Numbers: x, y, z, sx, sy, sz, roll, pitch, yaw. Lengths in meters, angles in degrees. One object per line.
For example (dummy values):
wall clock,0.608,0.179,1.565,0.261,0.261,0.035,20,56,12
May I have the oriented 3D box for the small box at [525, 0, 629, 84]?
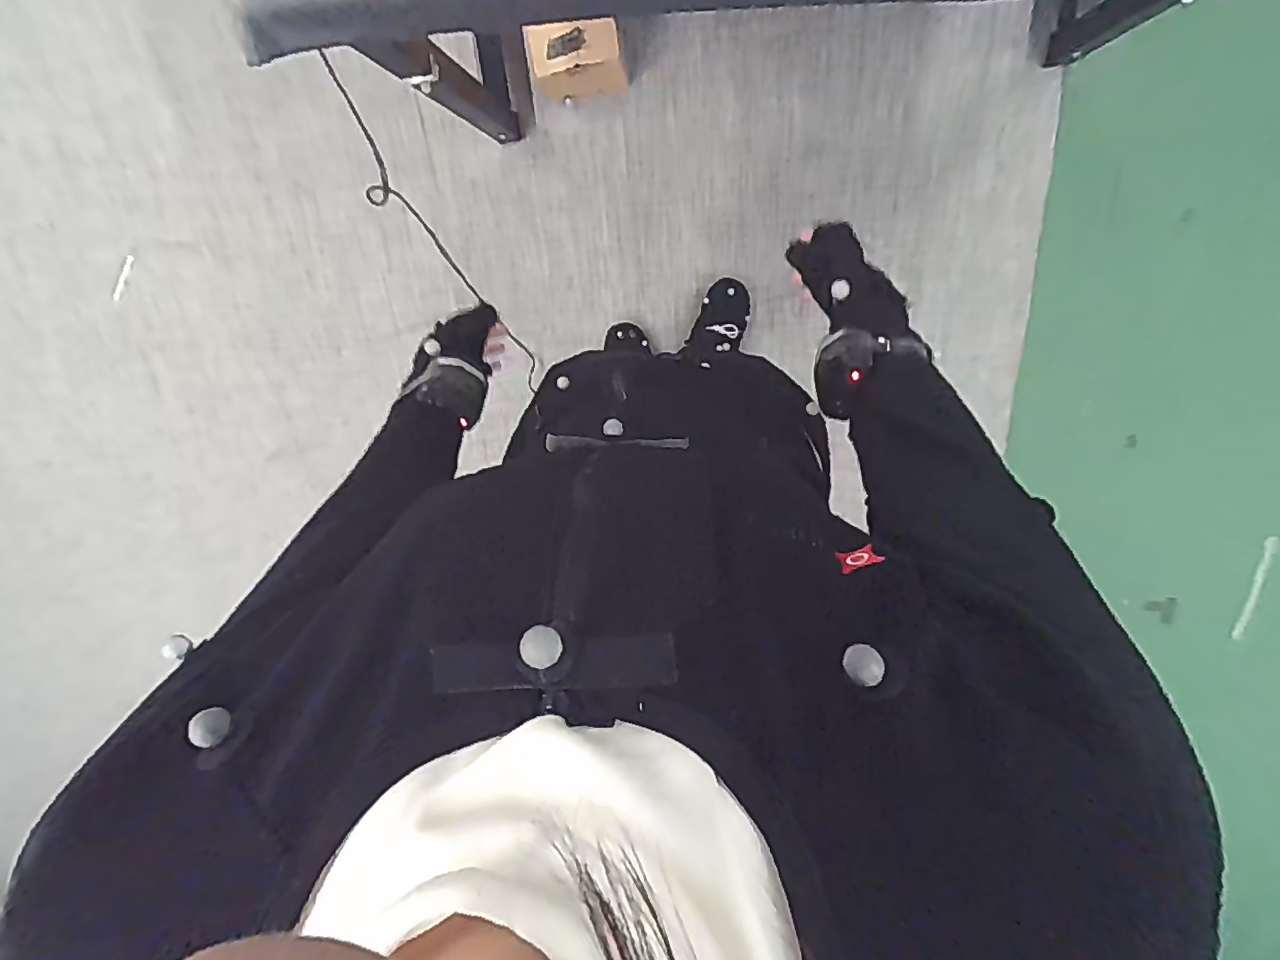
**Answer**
small box,-0.120,-0.900,1.051,0.168,0.176,0.179,-6,111,7
